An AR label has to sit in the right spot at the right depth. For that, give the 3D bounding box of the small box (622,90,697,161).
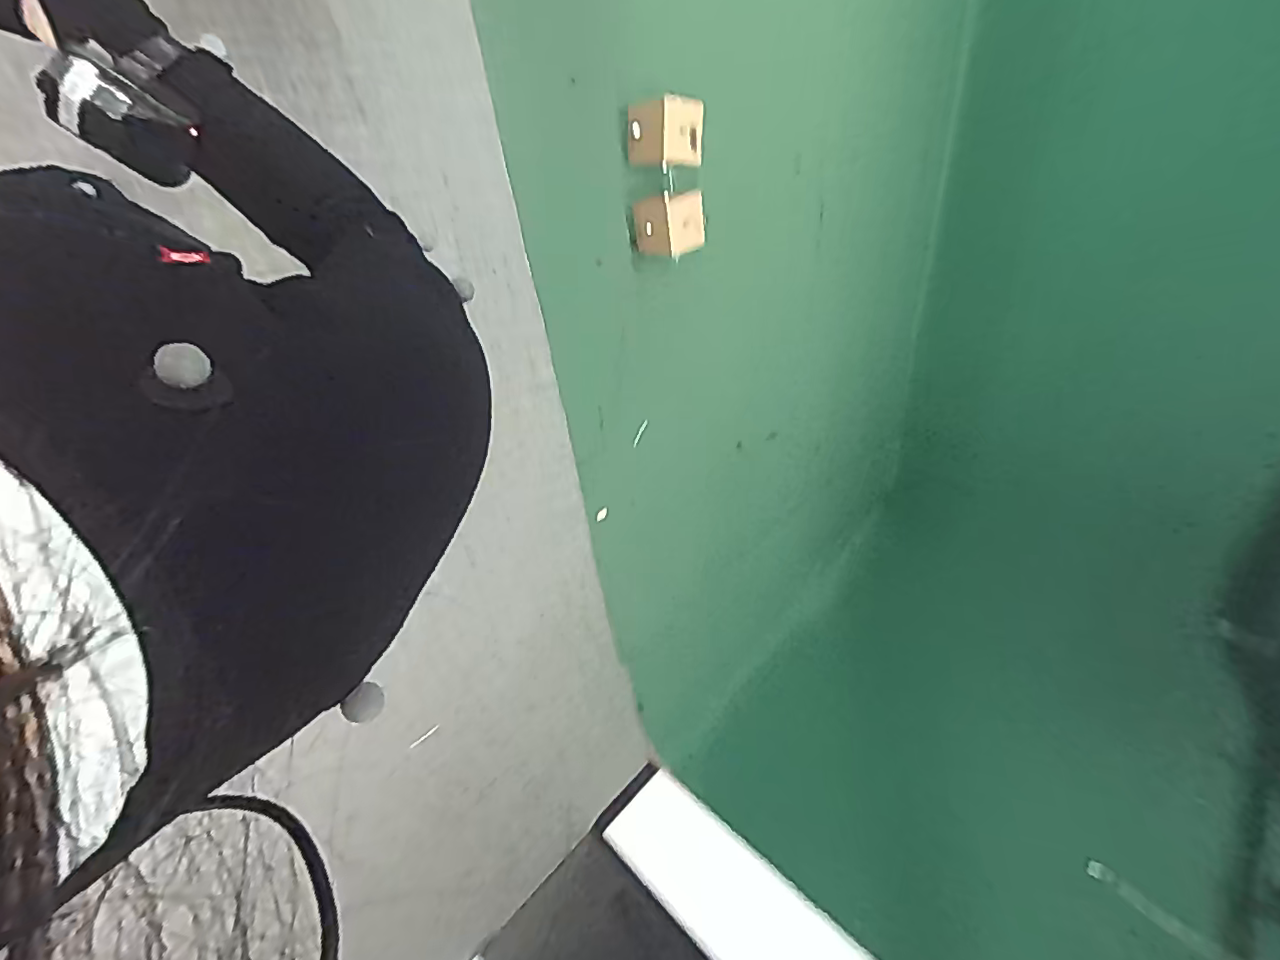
[{"bbox_3d":[0.062,-1.128,1.732,0.179,0.176,0.168,-22,123,-38],"label":"small box"}]

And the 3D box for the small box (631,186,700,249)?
[{"bbox_3d":[0.082,-0.906,1.864,0.179,0.176,0.168,-35,132,-32],"label":"small box"}]
